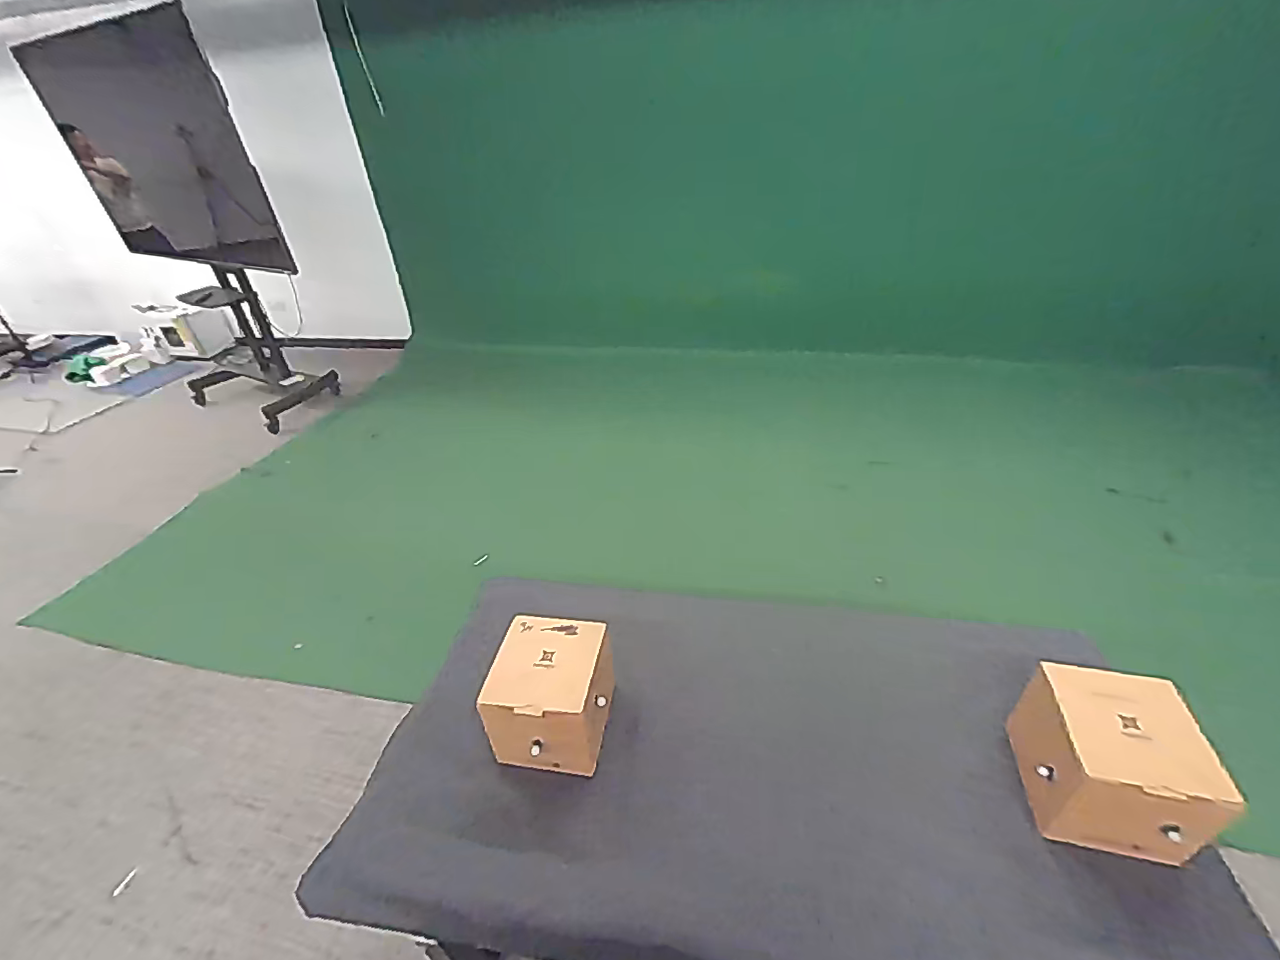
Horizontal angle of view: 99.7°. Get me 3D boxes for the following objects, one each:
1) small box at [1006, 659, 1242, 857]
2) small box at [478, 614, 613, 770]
[{"bbox_3d":[0.651,0.387,0.758,0.168,0.176,0.179,6,34,13],"label":"small box"},{"bbox_3d":[-0.144,0.352,0.902,0.168,0.176,0.179,3,35,9],"label":"small box"}]
